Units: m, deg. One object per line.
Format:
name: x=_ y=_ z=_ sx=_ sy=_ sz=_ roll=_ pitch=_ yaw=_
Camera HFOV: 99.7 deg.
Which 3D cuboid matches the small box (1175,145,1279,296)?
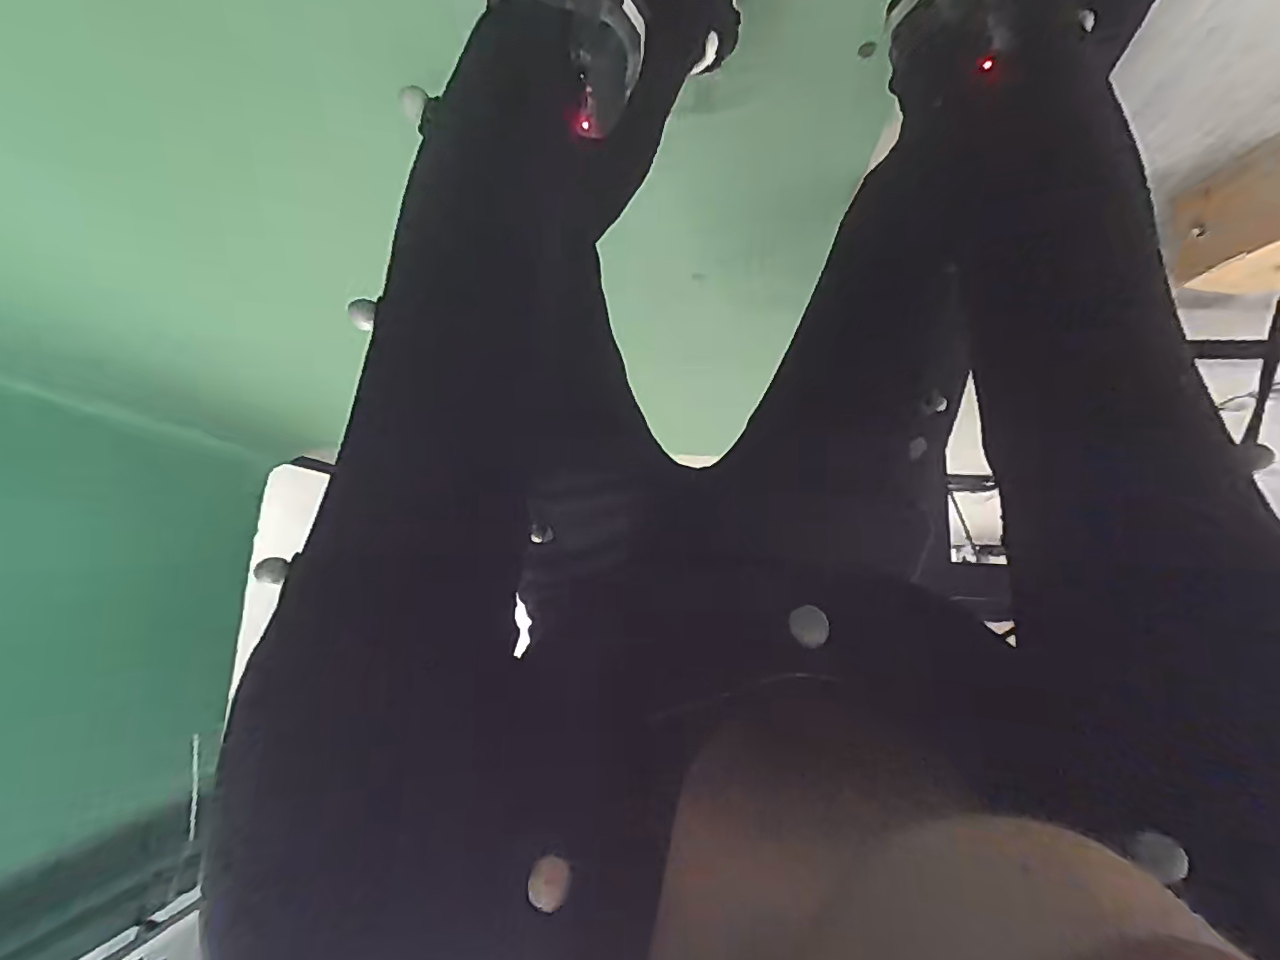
small box: x=1.036 y=-0.424 z=0.882 sx=0.179 sy=0.176 sz=0.168 roll=2 pitch=171 yaw=-7
